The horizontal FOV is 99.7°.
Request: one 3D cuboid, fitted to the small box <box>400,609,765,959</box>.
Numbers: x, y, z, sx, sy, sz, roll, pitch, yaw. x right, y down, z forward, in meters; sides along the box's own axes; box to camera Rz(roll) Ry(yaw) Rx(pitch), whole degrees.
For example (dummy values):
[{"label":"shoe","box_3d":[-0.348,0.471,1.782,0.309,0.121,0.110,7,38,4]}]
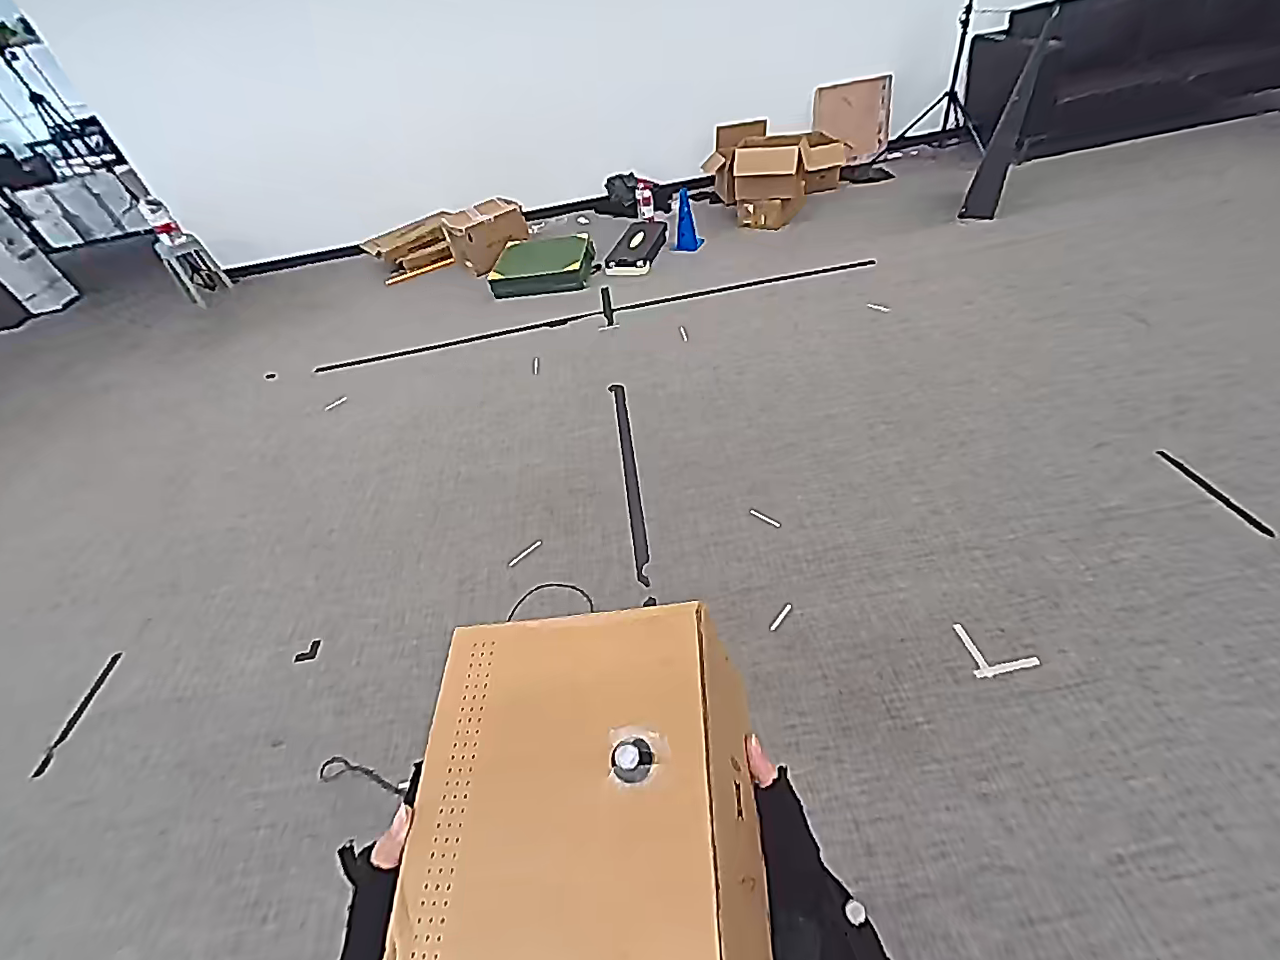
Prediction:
[{"label":"small box","box_3d":[-0.022,0.205,0.351,0.176,0.168,0.179,-10,51,14]}]
